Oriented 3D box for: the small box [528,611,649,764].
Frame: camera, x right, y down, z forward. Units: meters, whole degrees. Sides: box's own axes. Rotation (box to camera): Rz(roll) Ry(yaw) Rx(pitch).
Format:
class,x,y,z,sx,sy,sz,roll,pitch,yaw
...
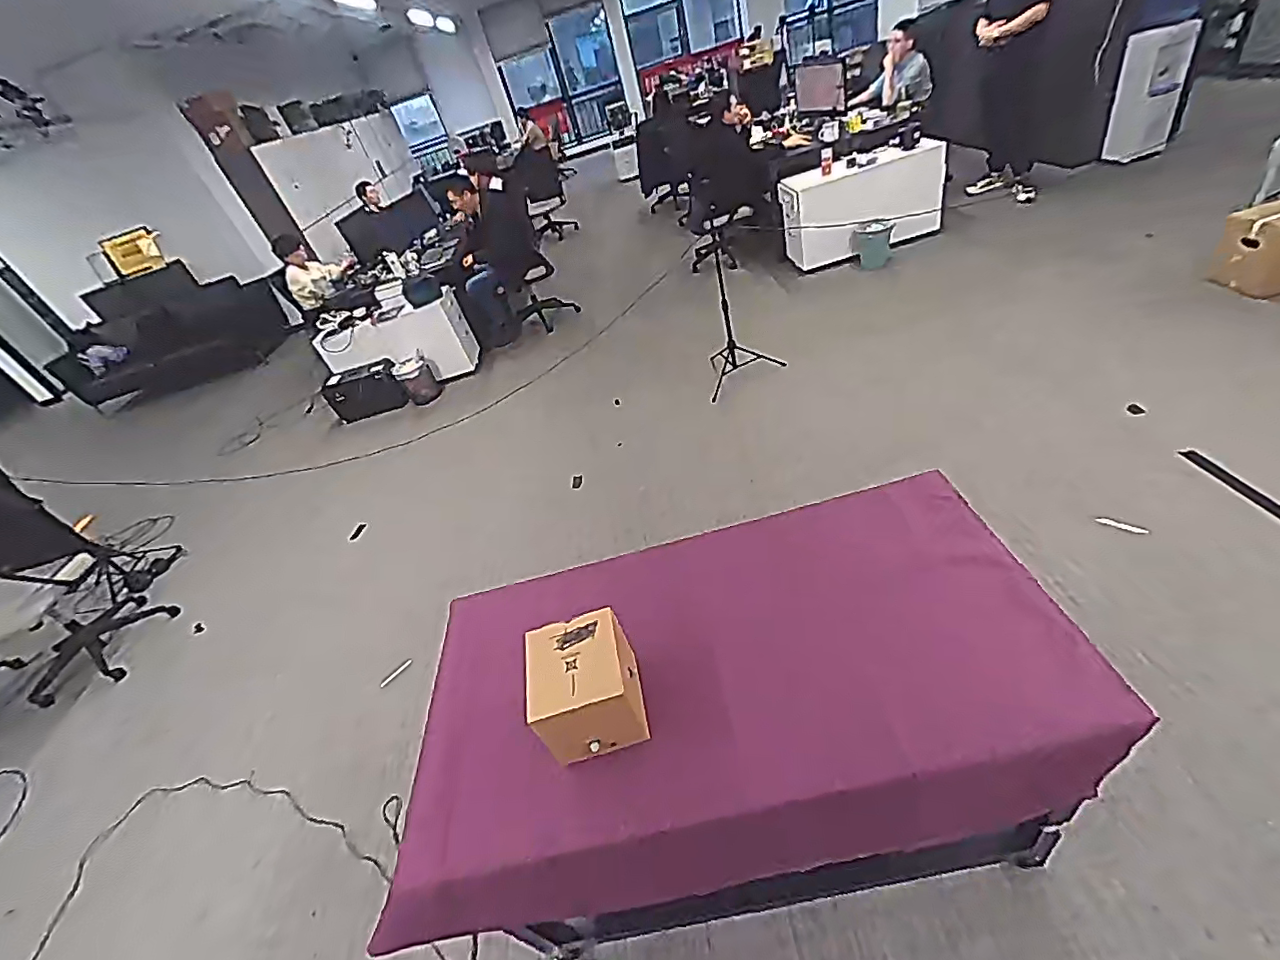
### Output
class,x,y,z,sx,sy,sz,roll,pitch,yaw
small box,-0.093,0.373,0.975,0.168,0.176,0.179,-18,38,2
